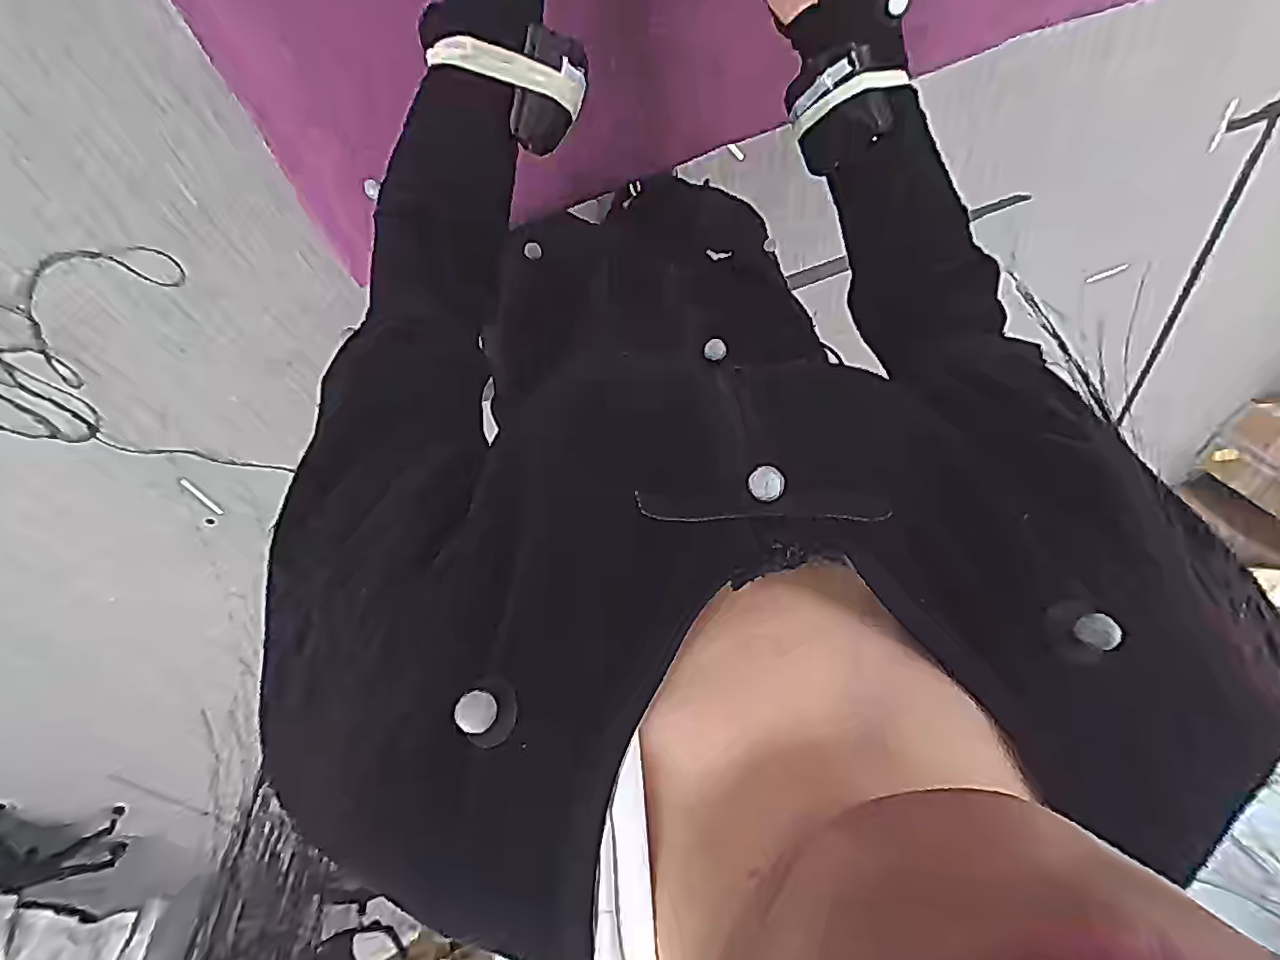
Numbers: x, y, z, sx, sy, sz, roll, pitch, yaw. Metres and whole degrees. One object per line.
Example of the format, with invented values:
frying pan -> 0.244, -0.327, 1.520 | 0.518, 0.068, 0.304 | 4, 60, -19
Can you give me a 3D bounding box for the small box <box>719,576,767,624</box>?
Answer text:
small box -> 0.472, 0.561, 2.457 | 0.168, 0.176, 0.179 | -24, 134, 1
